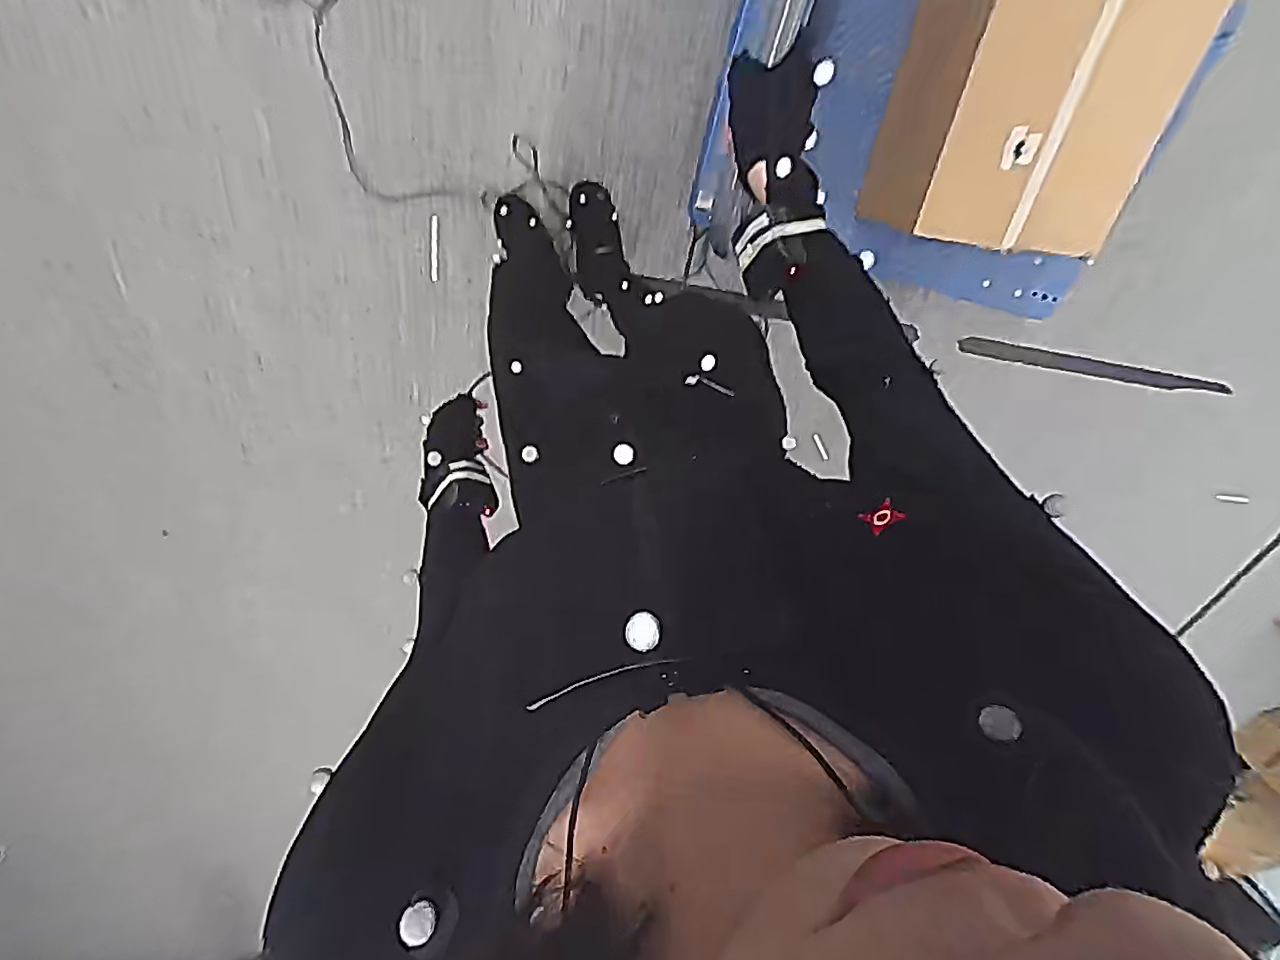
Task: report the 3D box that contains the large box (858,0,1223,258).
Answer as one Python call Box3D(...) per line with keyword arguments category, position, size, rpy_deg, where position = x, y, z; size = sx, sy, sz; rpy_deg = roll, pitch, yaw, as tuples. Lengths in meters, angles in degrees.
Box3D(category="large box", position=(0.622, -0.632, 0.914), size=(0.320, 0.320, 0.408), rpy_deg=(7, 122, -2))
